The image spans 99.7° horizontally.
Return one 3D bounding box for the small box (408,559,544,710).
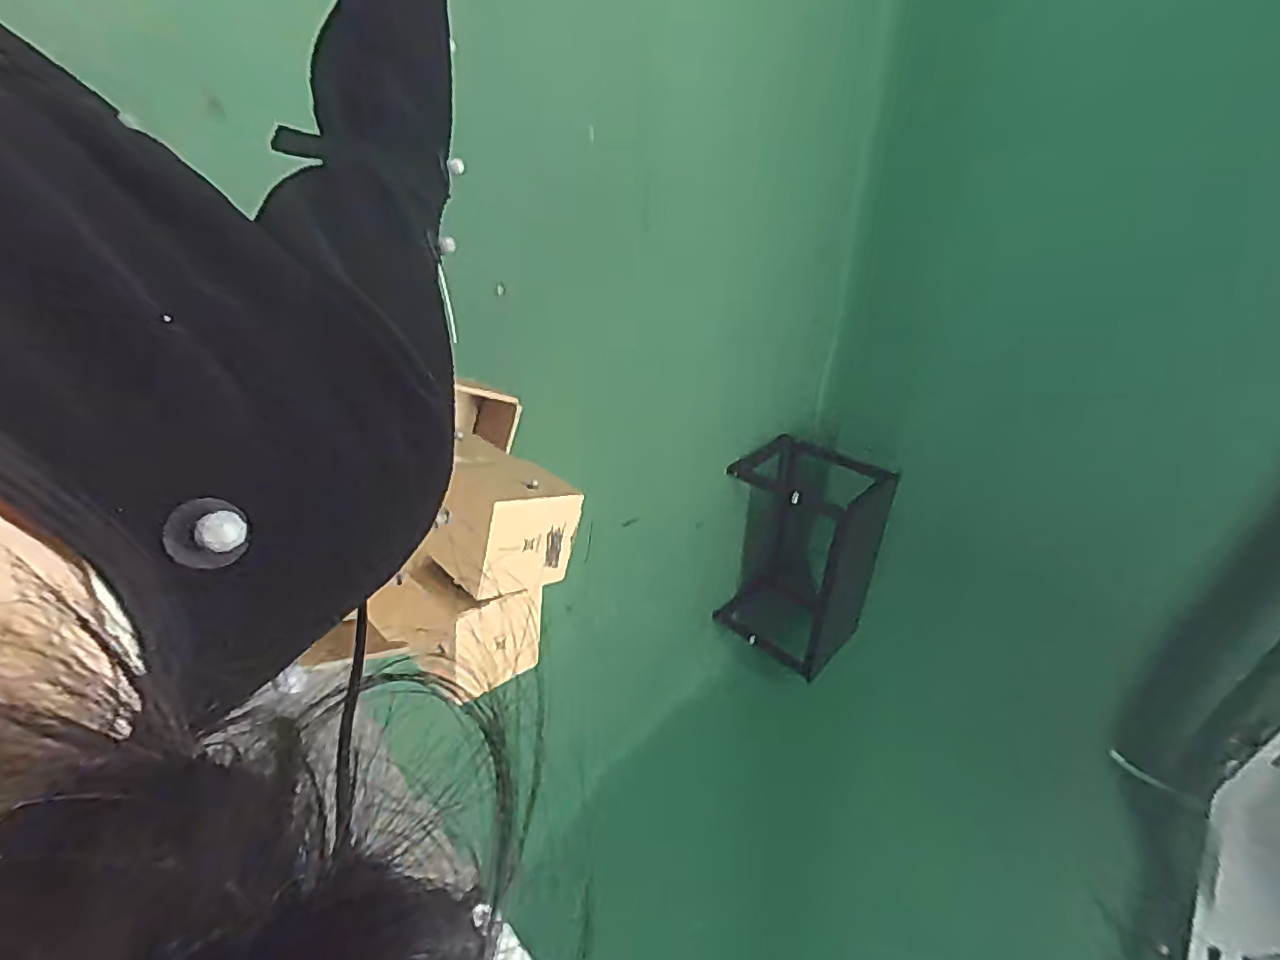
[{"bbox_3d":[-0.289,0.253,0.942,0.168,0.176,0.179,-13,118,-46],"label":"small box"}]
